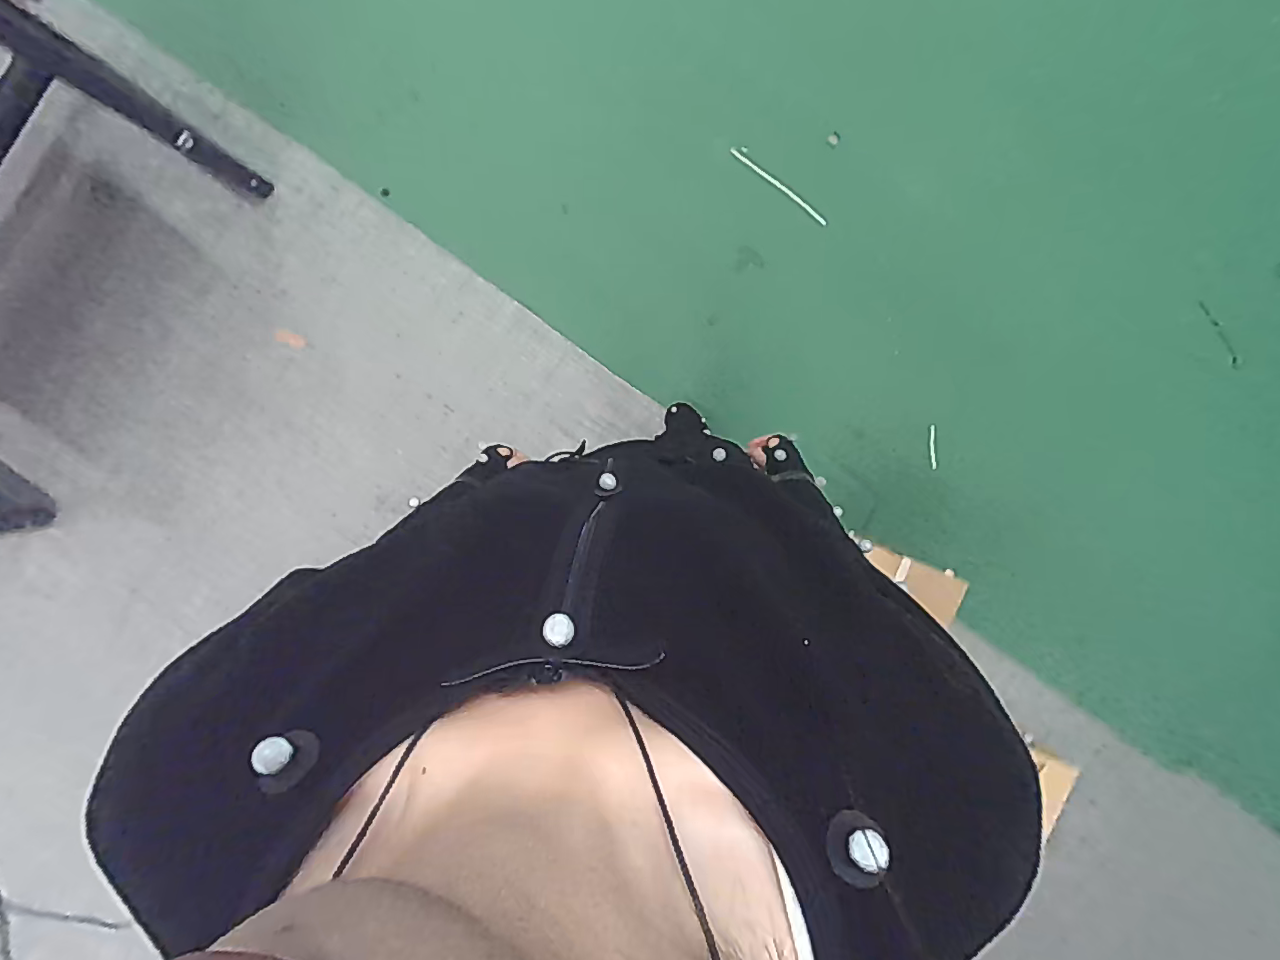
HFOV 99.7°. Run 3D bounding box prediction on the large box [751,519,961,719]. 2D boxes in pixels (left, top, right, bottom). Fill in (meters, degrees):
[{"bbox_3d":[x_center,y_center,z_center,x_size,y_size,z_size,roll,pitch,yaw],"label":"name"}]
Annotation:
[{"bbox_3d":[0.519,0.353,1.382,0.320,0.320,0.408,22,93,-2],"label":"large box"}]
